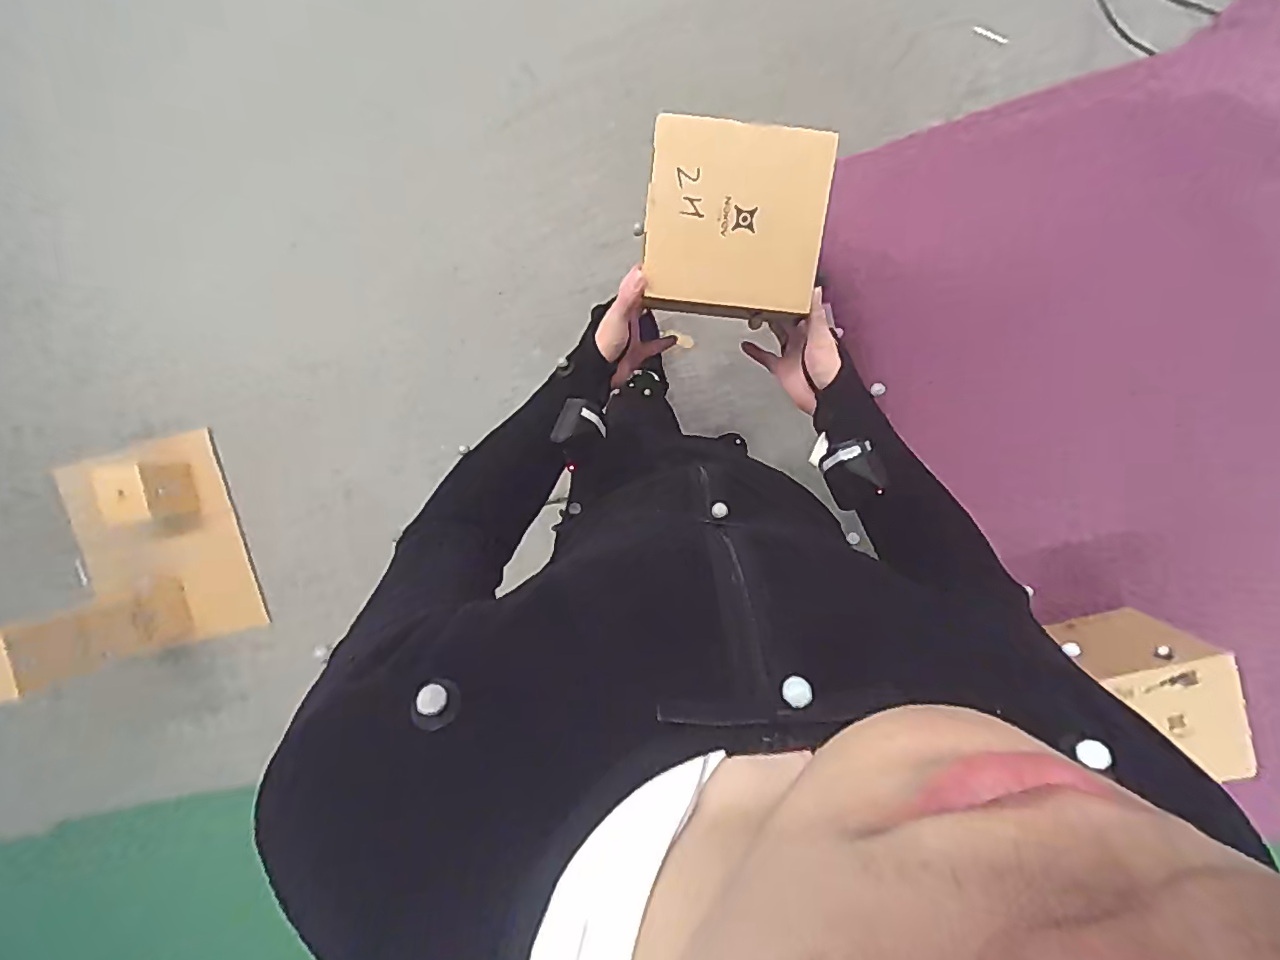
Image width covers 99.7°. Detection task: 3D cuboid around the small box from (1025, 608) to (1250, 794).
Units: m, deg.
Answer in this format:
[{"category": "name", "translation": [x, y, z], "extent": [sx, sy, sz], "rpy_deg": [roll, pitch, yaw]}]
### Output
[{"category": "small box", "translation": [0.702, 0.310, 0.783], "extent": [0.168, 0.176, 0.179], "rpy_deg": [-14, 96, 8]}]

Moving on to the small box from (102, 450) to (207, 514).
[{"category": "small box", "translation": [-1.542, 0.001, 1.728], "extent": [0.168, 0.176, 0.179], "rpy_deg": [-7, 98, 8]}]

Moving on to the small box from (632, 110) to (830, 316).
[{"category": "small box", "translation": [0.087, -0.279, 0.605], "extent": [0.179, 0.176, 0.168], "rpy_deg": [6, 103, 0]}]
